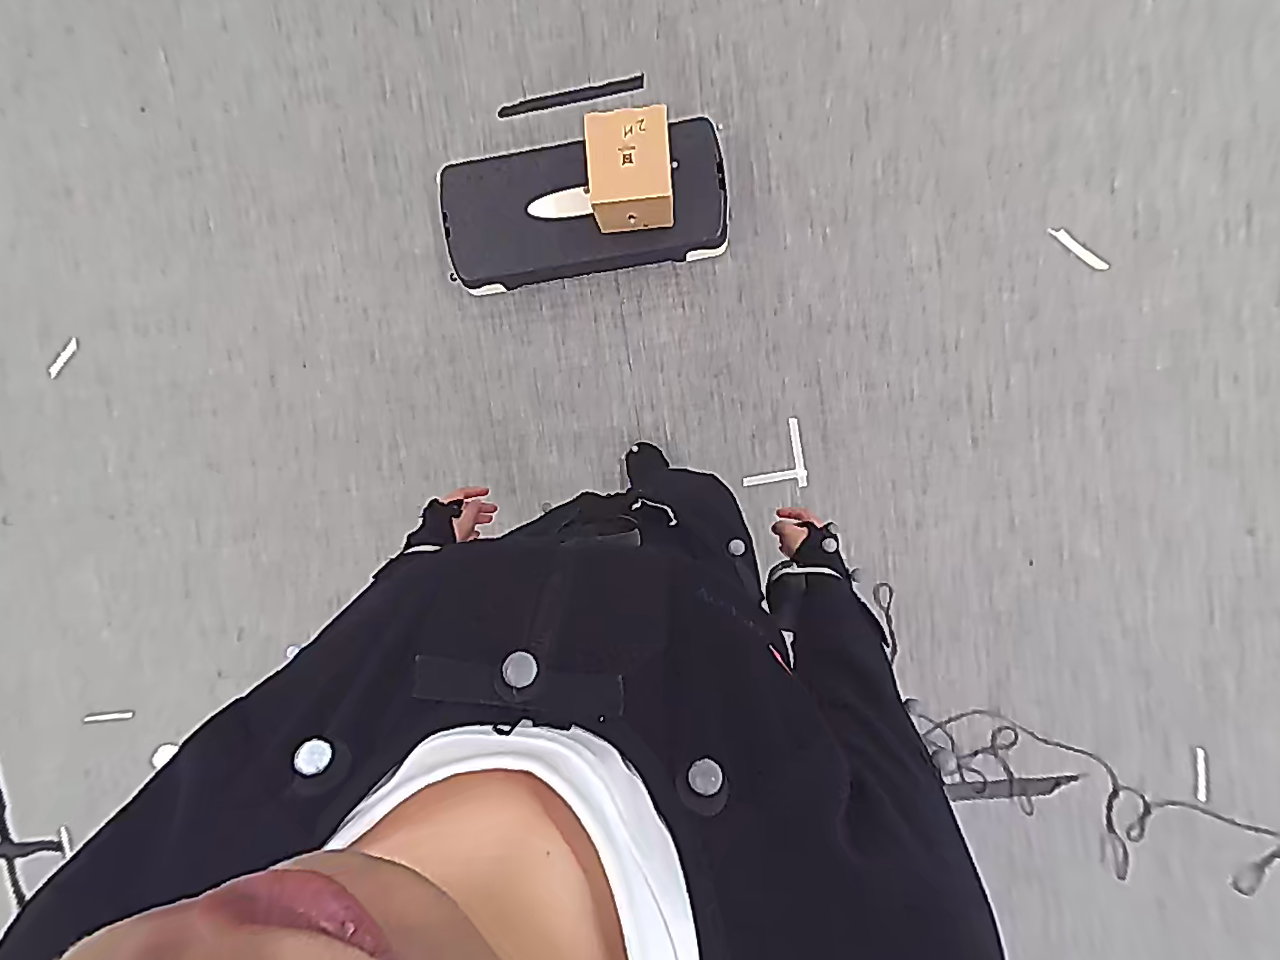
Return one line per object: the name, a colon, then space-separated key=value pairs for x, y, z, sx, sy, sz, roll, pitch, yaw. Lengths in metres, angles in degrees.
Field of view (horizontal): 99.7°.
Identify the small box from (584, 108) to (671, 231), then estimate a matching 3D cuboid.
small box: x=-0.020 y=-0.644 z=1.146 sx=0.168 sy=0.176 sz=0.179 roll=-3 pitch=95 yaw=4
